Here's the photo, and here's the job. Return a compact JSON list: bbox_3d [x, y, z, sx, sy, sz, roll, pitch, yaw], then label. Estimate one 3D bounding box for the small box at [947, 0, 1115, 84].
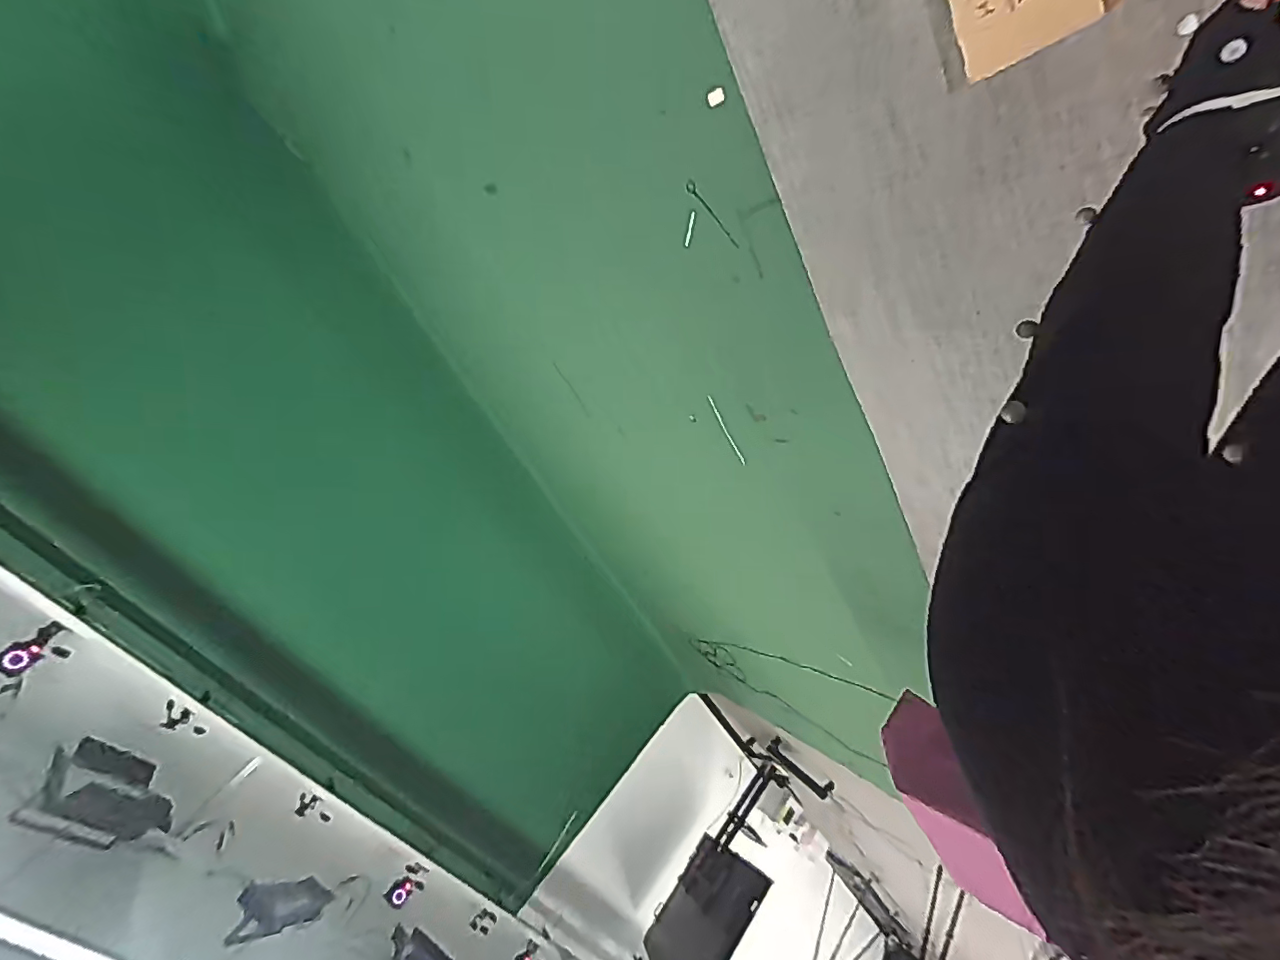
[{"bbox_3d":[0.595,-0.751,0.809,0.179,0.176,0.168,7,135,55],"label":"small box"}]
